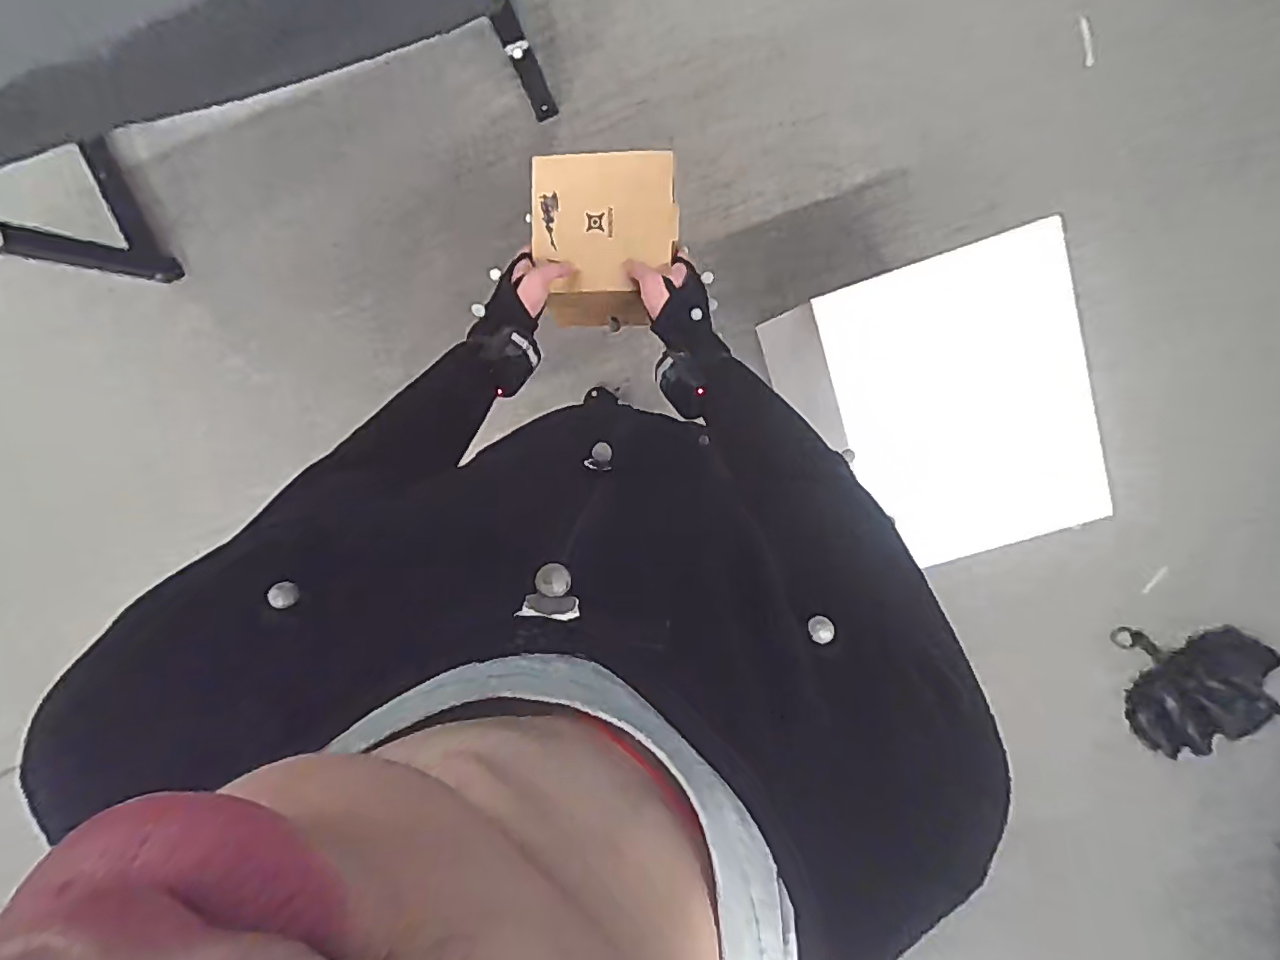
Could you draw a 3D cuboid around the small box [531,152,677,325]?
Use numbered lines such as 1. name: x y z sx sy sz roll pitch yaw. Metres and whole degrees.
1. small box: -0.041 -0.309 0.722 0.179 0.176 0.168 0 93 3
